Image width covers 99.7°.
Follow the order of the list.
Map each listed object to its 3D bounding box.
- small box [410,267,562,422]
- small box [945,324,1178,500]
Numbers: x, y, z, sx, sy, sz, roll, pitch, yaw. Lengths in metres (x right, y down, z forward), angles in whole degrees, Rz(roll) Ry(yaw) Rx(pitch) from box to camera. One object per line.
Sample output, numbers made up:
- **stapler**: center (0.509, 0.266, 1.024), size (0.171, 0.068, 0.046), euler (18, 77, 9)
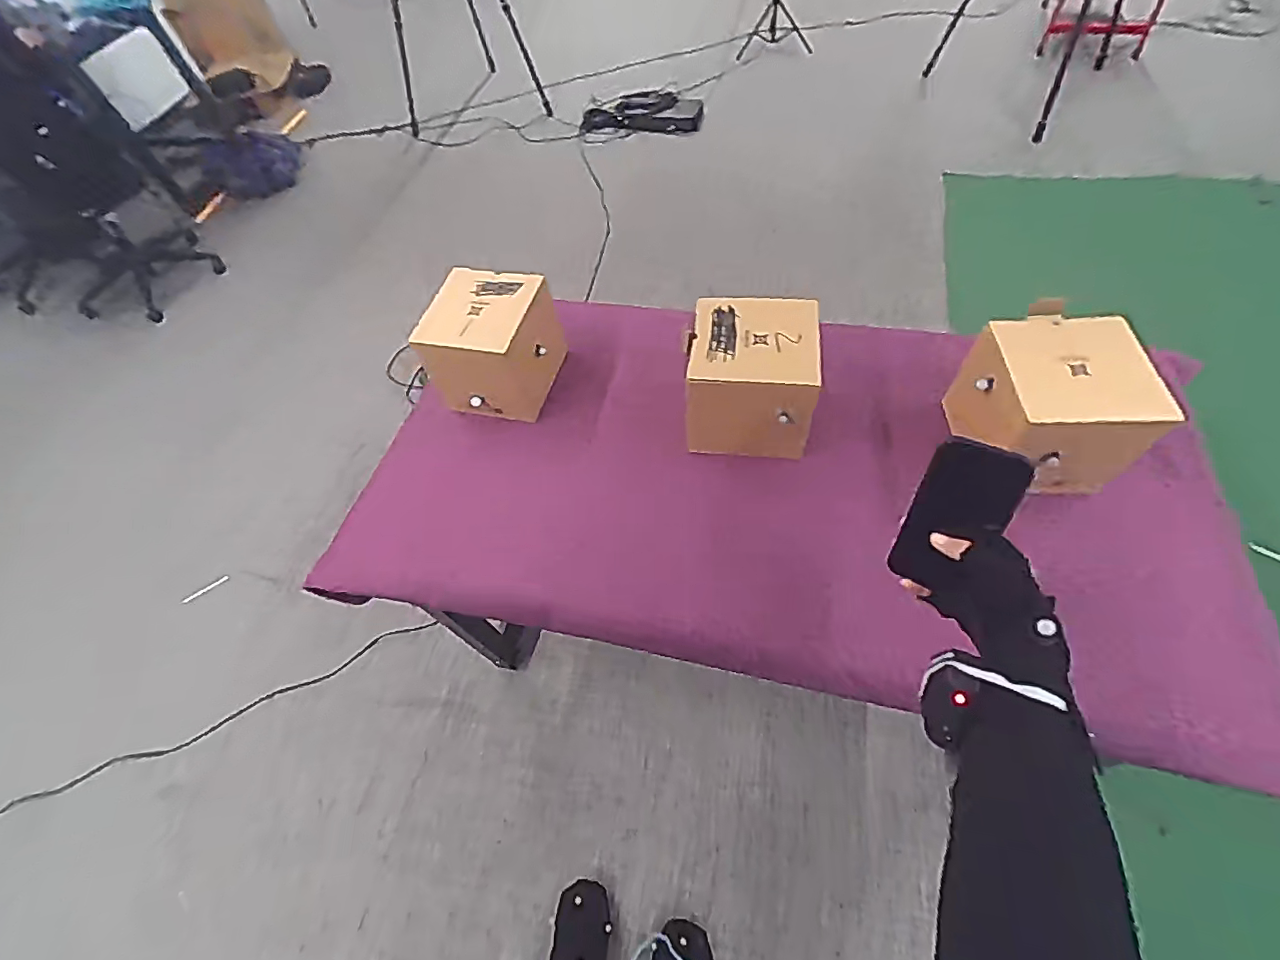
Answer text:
- **small box**: center (-0.240, -0.224, 0.903), size (0.168, 0.176, 0.179), euler (10, 61, 13)
- **small box**: center (0.543, -0.085, 0.732), size (0.168, 0.176, 0.179), euler (0, 57, 7)
